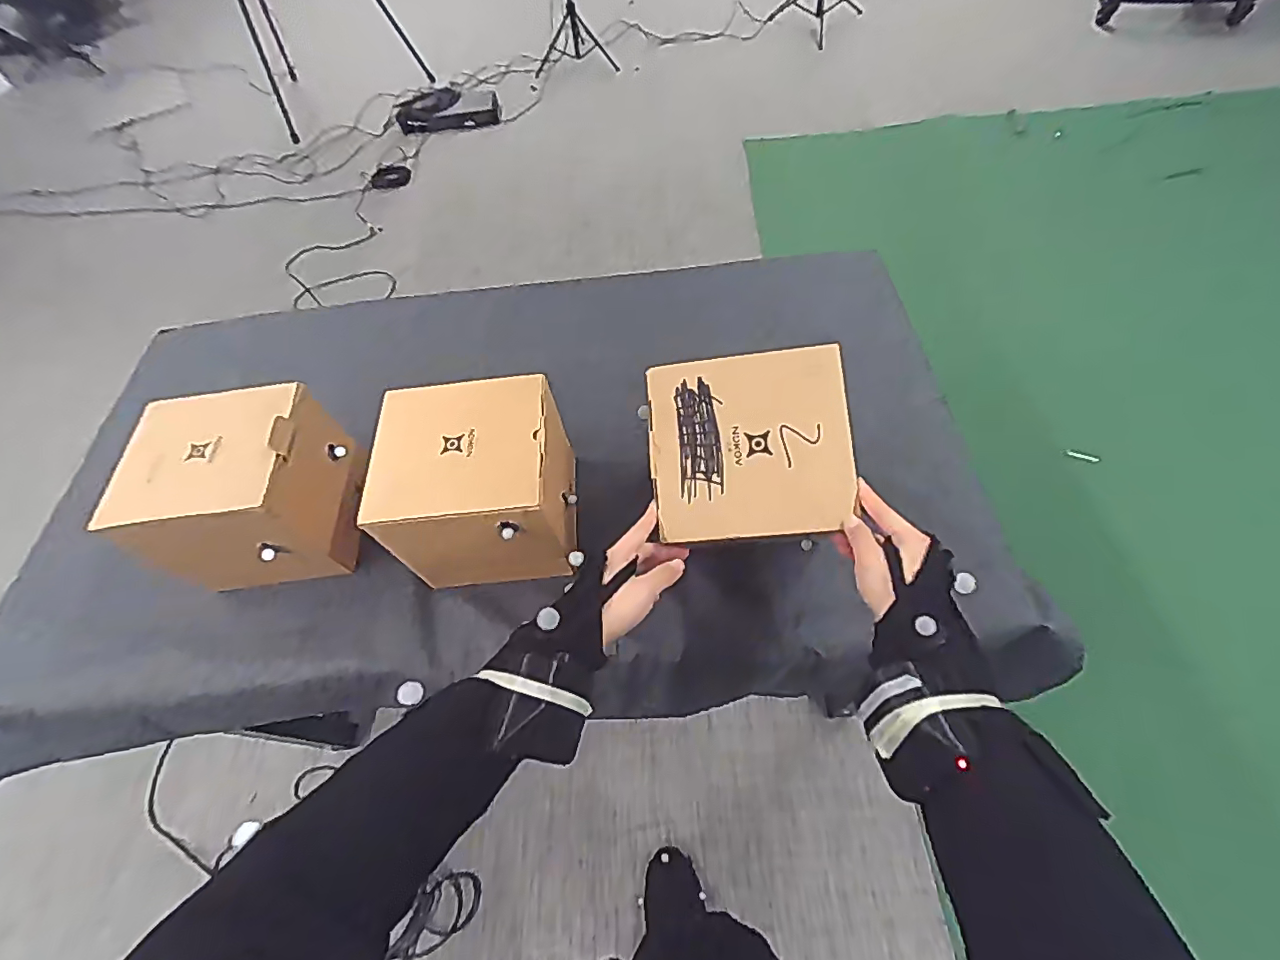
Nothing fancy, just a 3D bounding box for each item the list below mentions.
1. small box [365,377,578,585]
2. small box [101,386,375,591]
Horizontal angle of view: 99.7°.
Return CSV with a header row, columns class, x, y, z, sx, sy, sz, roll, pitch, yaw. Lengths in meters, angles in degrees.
class,x,y,z,sx,sy,sz,roll,pitch,yaw
small box,-0.172,0.009,0.613,0.179,0.176,0.168,-7,57,1
small box,-0.442,0.016,0.635,0.179,0.176,0.168,-9,56,2
